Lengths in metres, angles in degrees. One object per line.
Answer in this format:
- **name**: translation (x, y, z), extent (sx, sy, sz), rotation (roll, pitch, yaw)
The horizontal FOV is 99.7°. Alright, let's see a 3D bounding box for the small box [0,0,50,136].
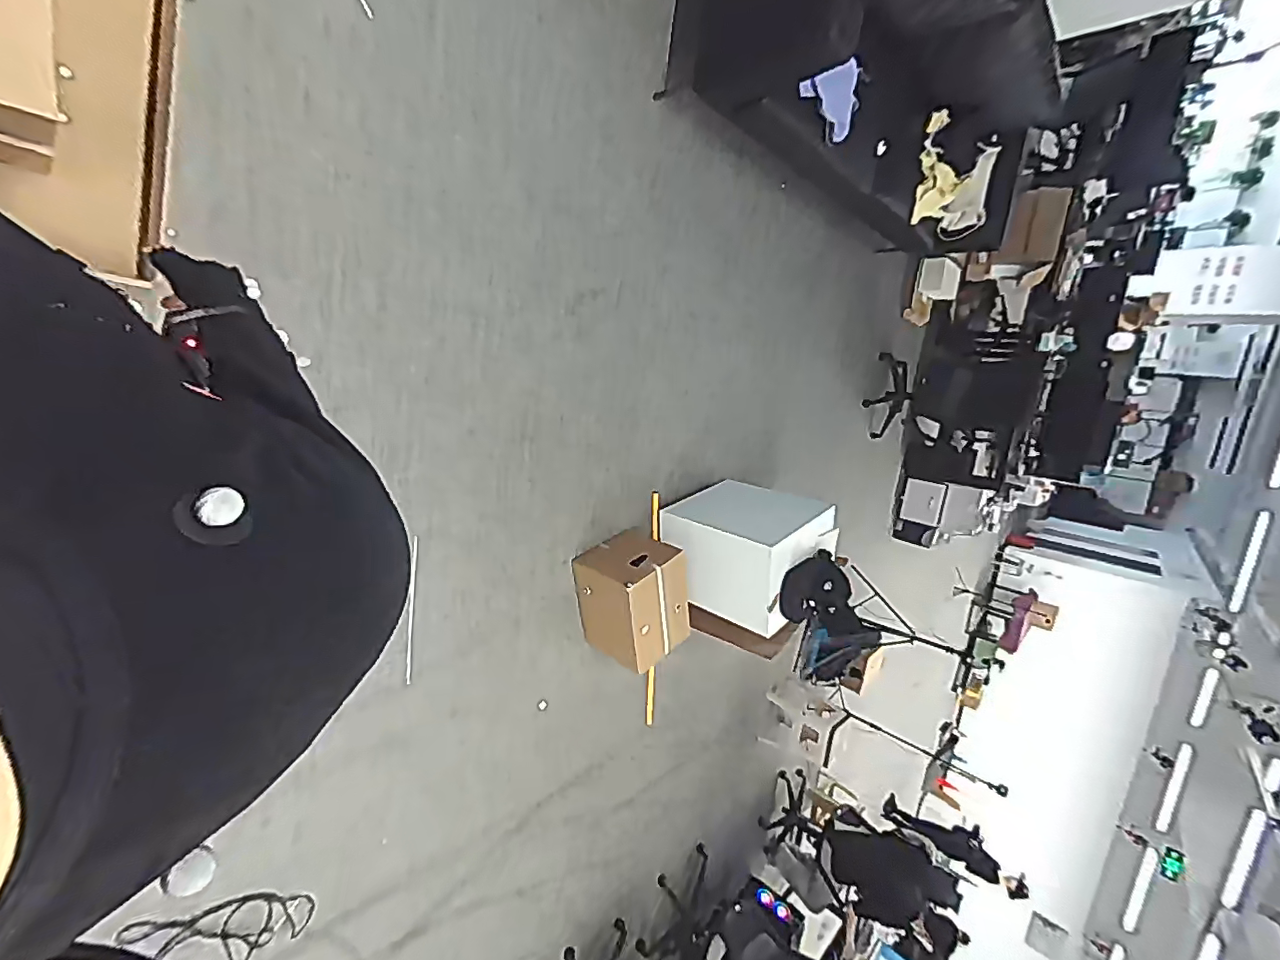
- **small box**: translation (-0.870, -0.572, 0.683), extent (0.168, 0.176, 0.179), rotation (-4, 104, -49)

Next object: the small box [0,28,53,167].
- **small box**: translation (-0.990, -0.595, 0.793), extent (0.168, 0.176, 0.179), rotation (0, 101, -49)
